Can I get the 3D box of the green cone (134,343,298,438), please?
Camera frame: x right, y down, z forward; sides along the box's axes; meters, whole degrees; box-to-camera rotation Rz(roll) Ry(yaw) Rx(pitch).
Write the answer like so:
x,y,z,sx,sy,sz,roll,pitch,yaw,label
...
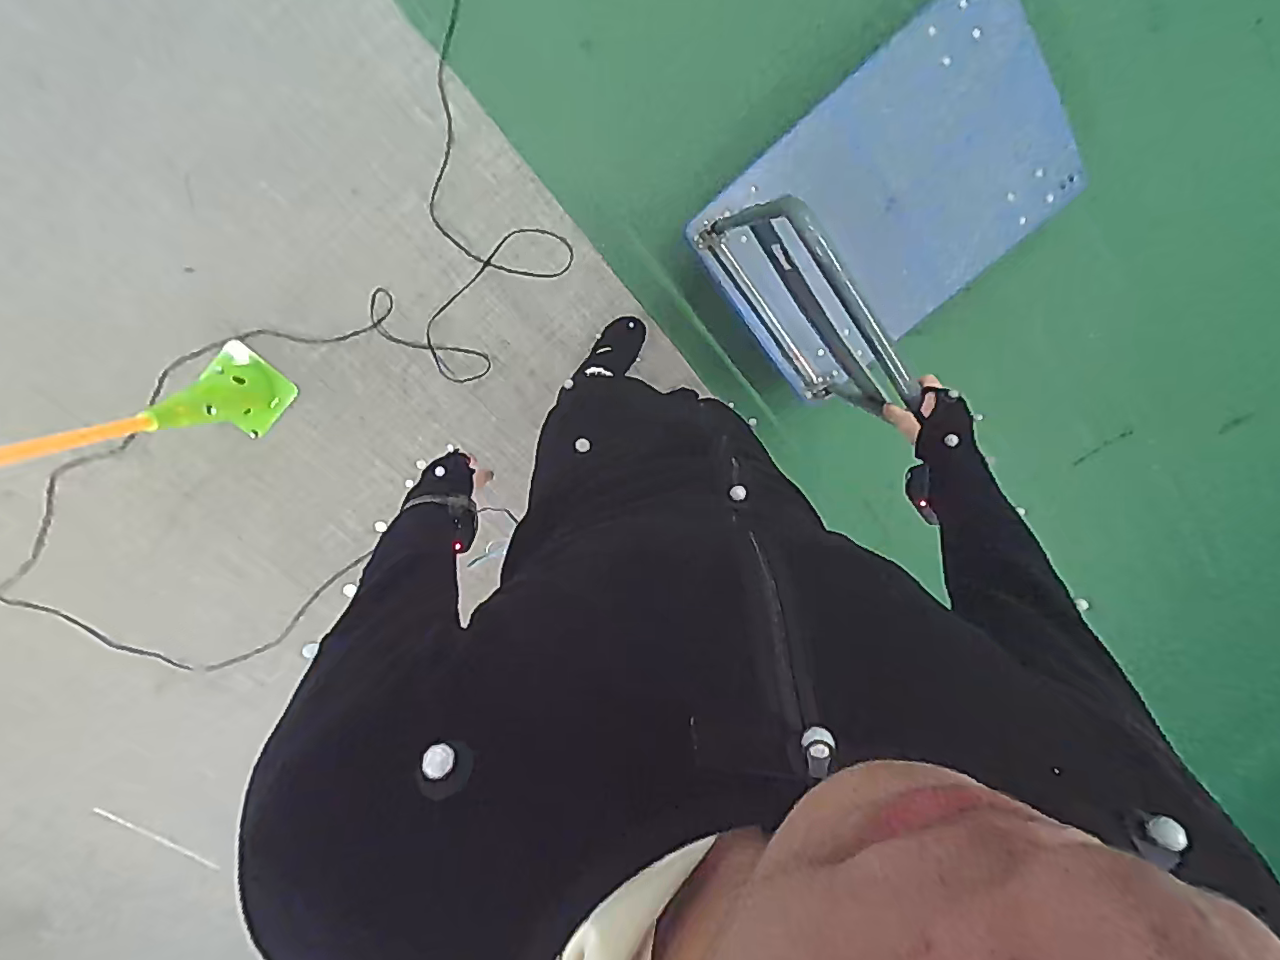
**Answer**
x,y,z,sx,sy,sz,roll,pitch,yaw,label
-1.042,-0.183,1.294,0.200,0.368,0.202,-44,106,10,green cone
